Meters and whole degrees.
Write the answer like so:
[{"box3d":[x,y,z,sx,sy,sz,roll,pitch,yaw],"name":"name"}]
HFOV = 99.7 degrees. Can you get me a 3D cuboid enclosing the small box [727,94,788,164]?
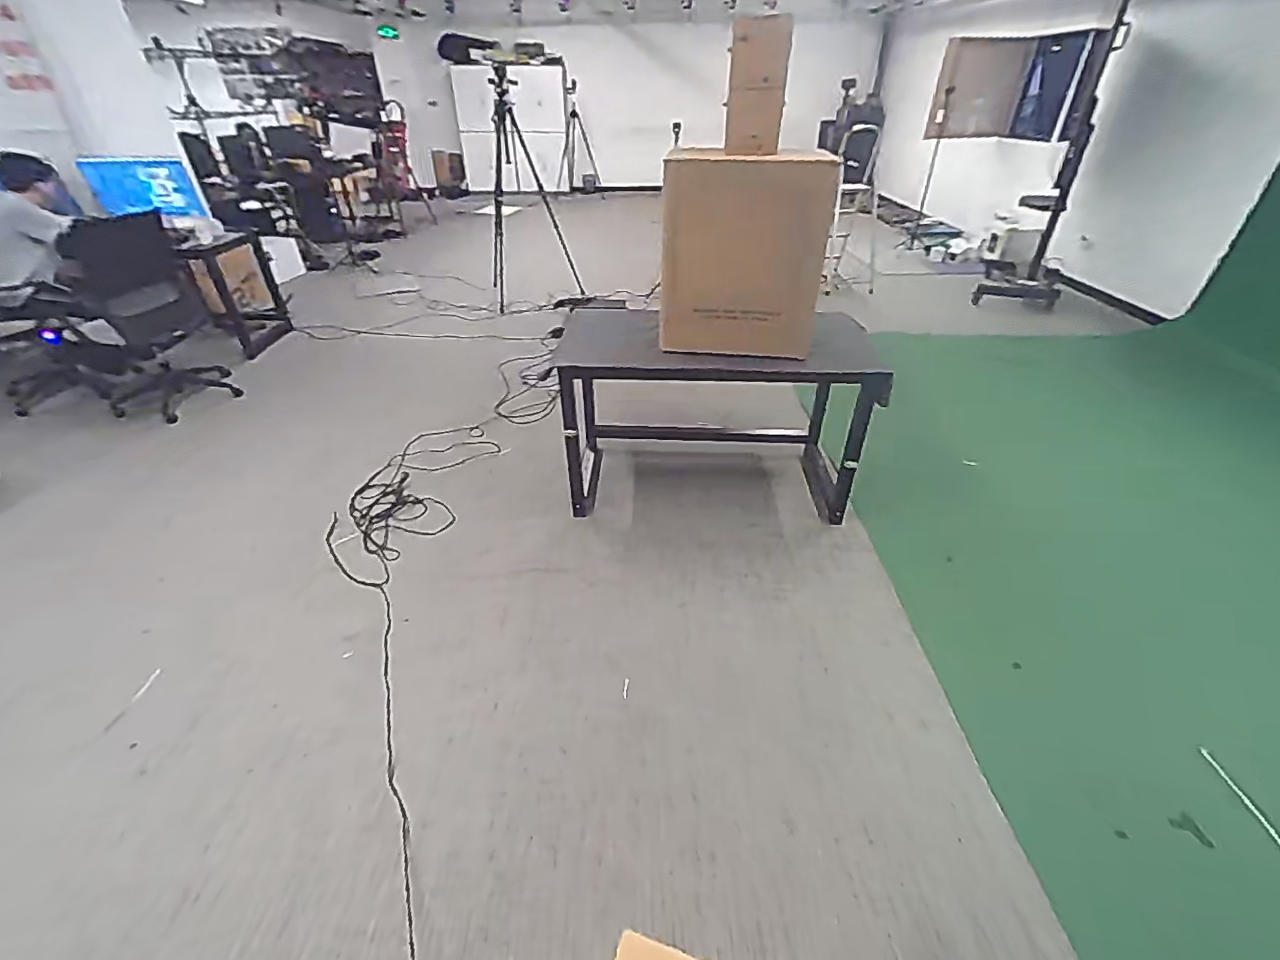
[{"box3d":[0.363,-1.101,1.694,0.168,0.176,0.179,5,38,6],"name":"small box"}]
